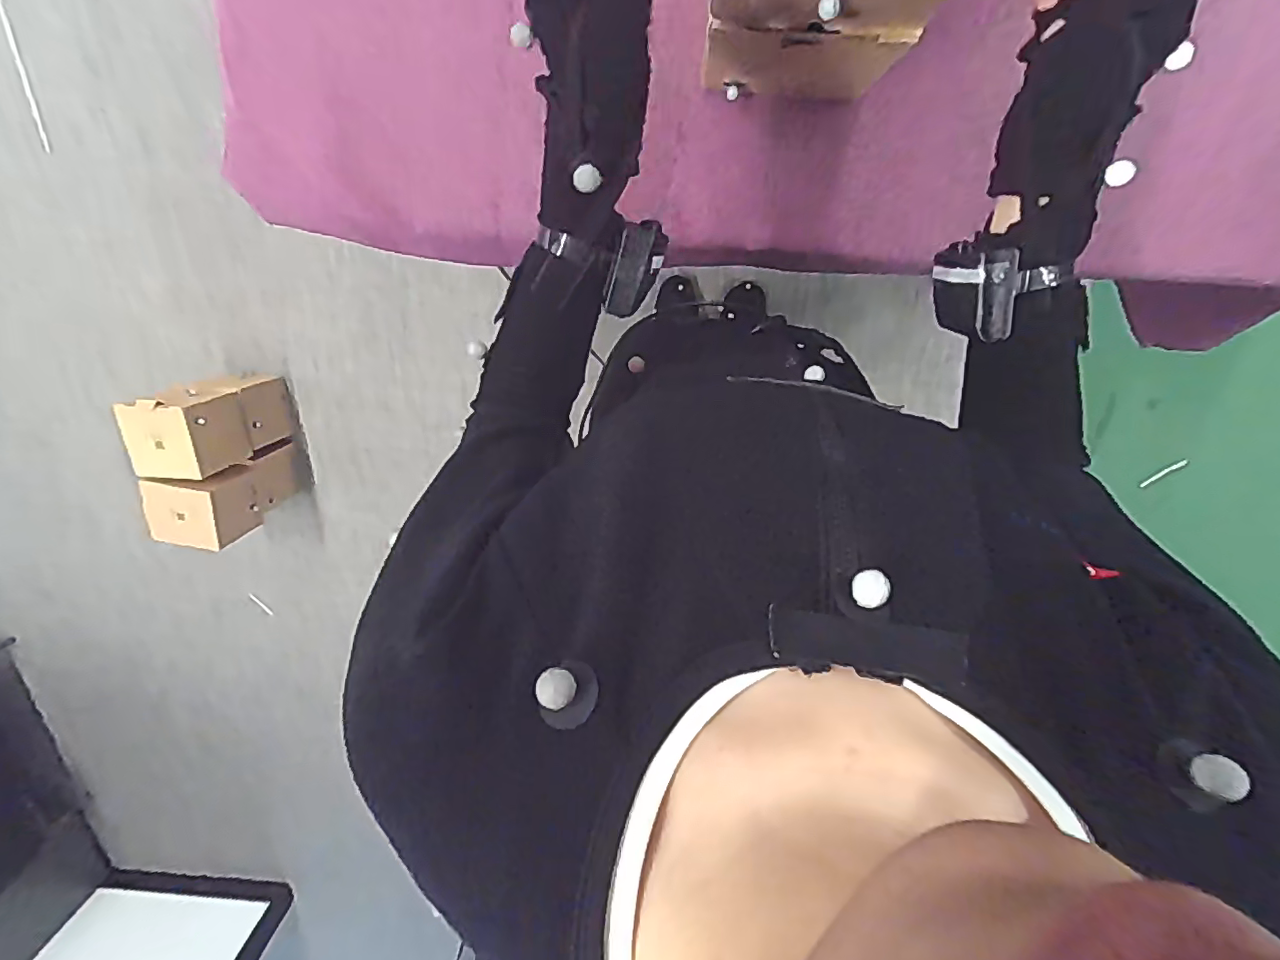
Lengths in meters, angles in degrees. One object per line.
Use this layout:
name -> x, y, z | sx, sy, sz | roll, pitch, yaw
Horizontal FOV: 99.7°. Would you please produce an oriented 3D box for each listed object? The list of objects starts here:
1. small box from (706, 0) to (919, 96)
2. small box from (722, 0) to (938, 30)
small box -> 0.150, -0.462, 0.472 | 0.168, 0.176, 0.179 | 6, 111, 2
small box -> 0.136, -0.410, 0.316 | 0.168, 0.176, 0.179 | 6, 112, 2
